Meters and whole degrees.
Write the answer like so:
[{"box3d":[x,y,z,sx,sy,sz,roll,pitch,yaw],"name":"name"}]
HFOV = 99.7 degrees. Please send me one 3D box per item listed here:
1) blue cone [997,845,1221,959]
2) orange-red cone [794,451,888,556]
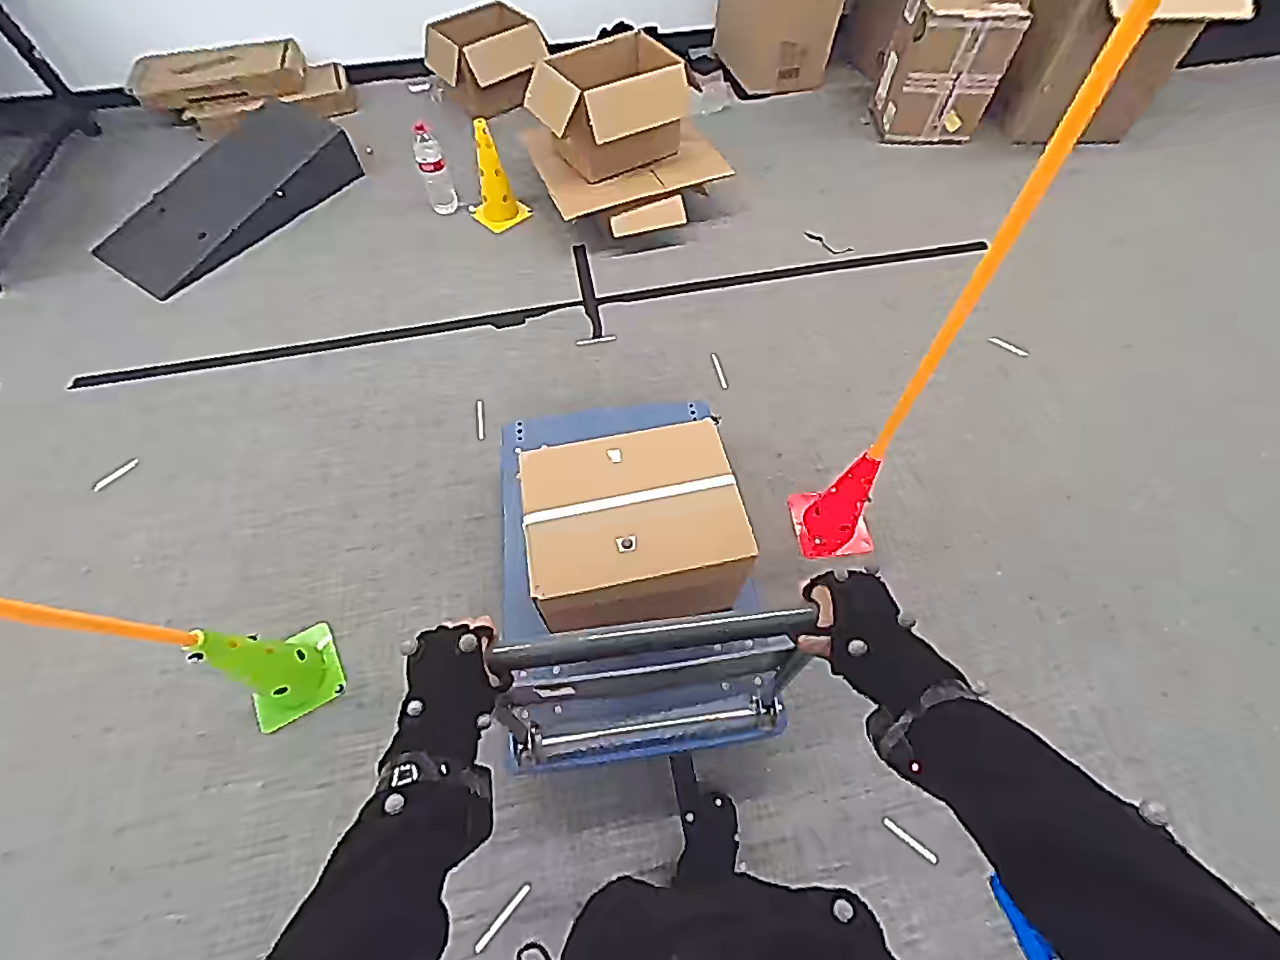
[{"box3d":[0.842,0.784,0.949,0.193,0.380,0.192,-13,59,-7],"name":"blue cone"},{"box3d":[0.544,0.035,1.373,0.199,0.360,0.198,-4,60,-3],"name":"orange-red cone"}]
